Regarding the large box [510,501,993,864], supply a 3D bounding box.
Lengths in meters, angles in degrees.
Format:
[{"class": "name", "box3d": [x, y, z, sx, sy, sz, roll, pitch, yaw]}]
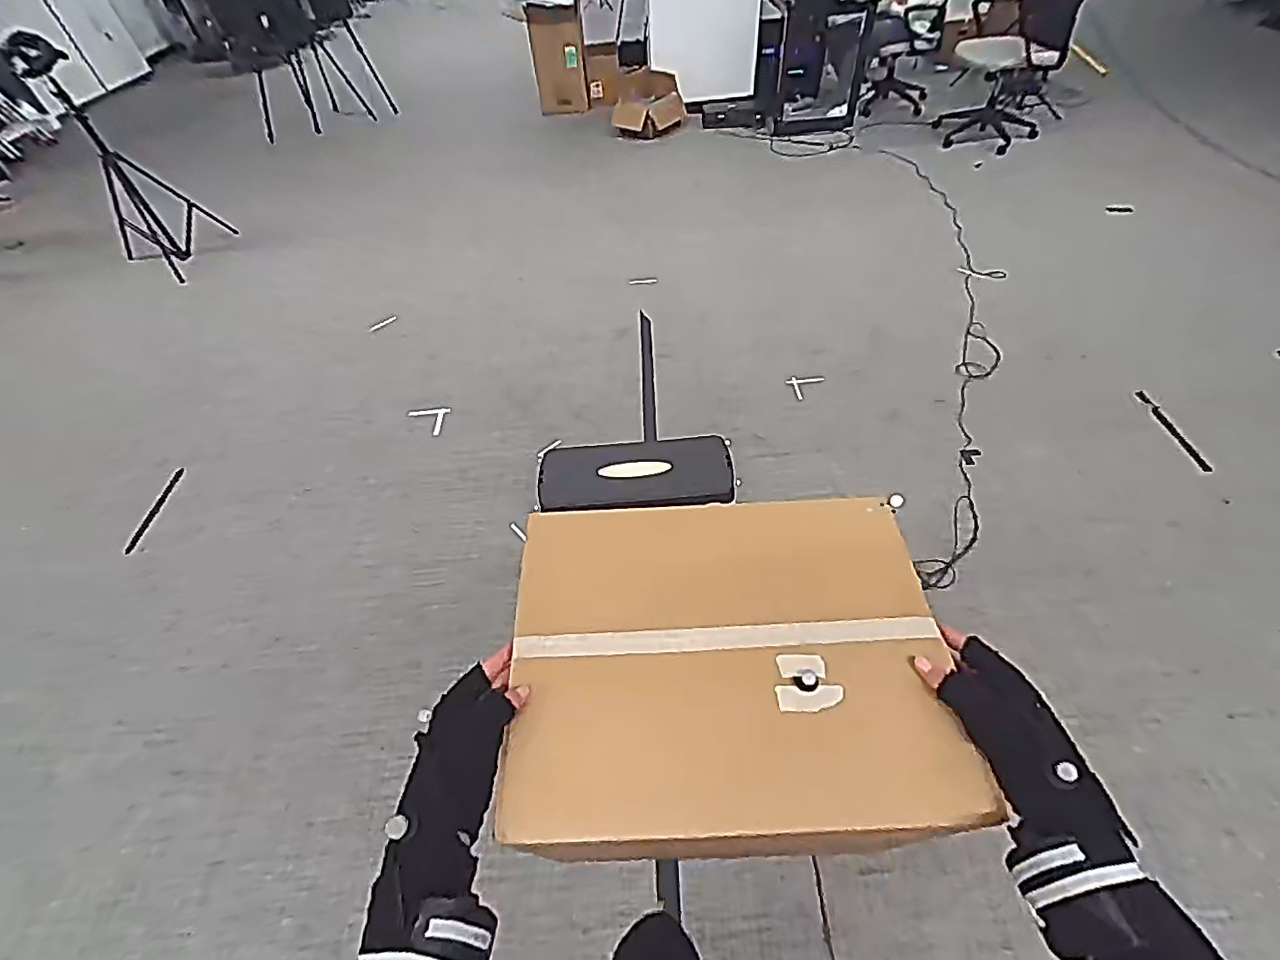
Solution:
[{"class": "large box", "box3d": [0.086, 0.248, 0.642, 0.408, 0.320, 0.320, -3, 53, 0]}]
